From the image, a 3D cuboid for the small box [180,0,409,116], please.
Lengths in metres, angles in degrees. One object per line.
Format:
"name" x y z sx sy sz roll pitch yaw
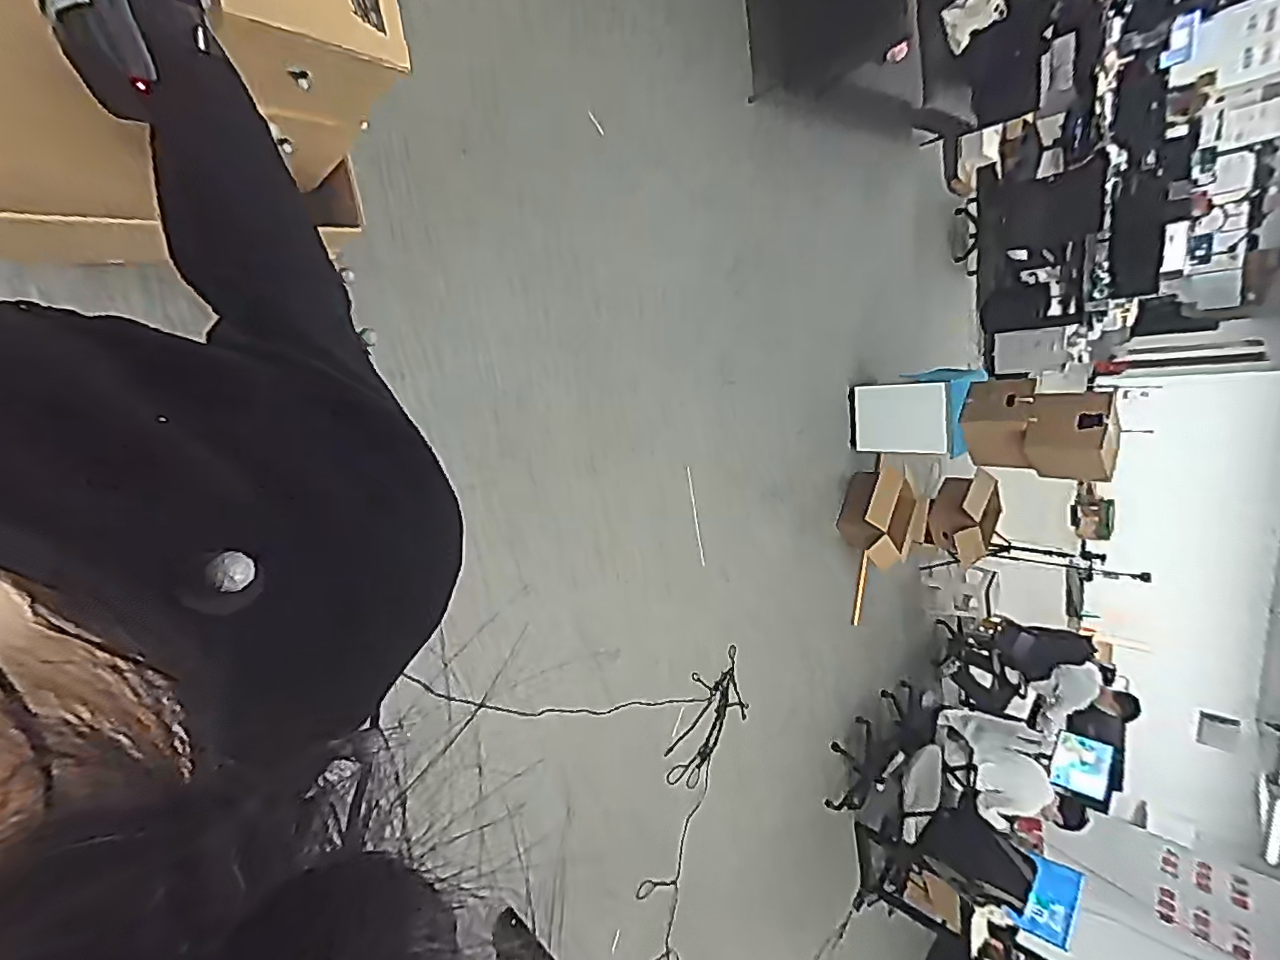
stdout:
"small box" -0.379 -0.527 0.584 0.179 0.176 0.168 -15 105 -42
